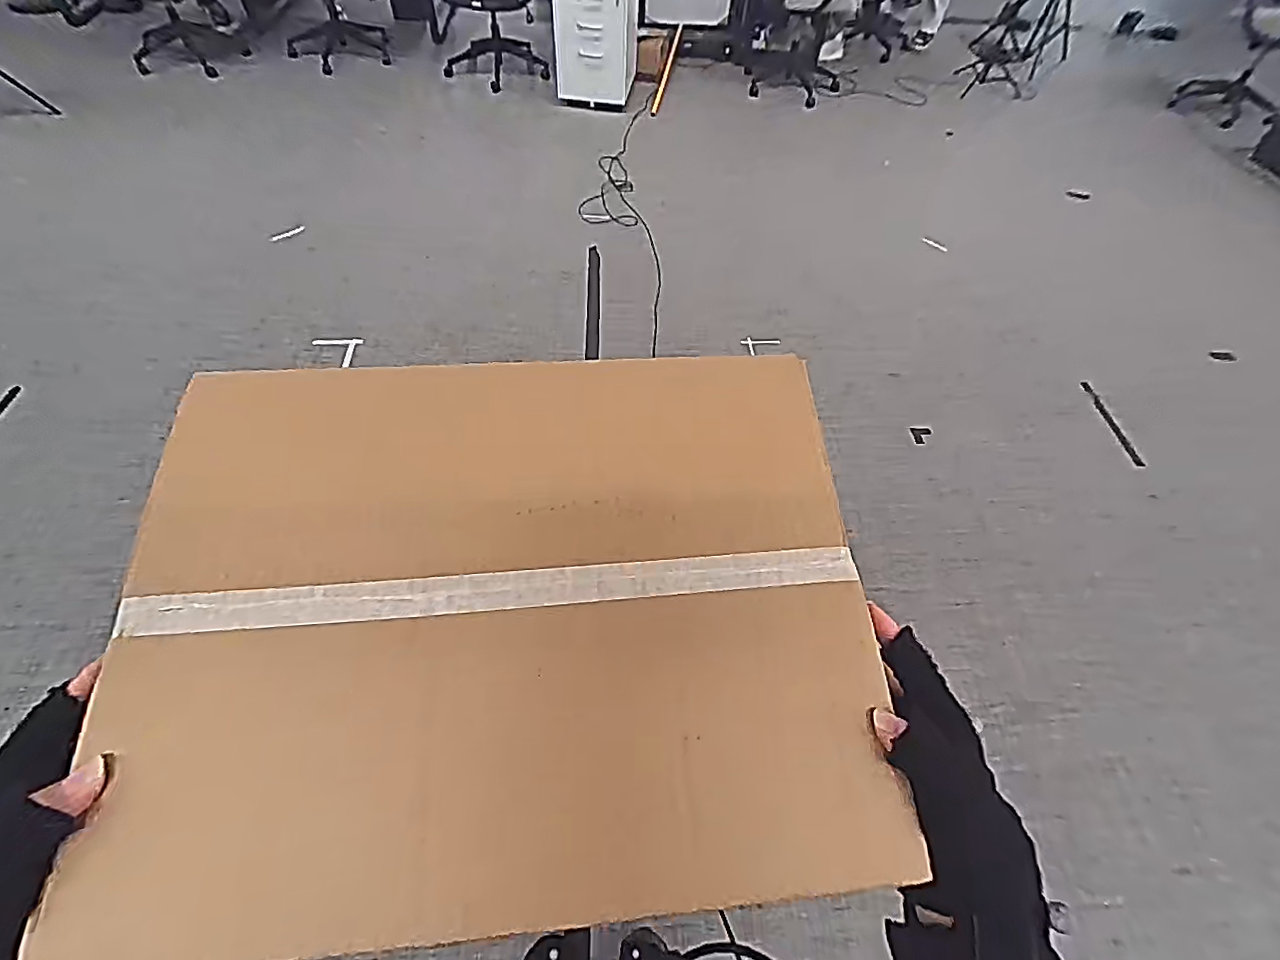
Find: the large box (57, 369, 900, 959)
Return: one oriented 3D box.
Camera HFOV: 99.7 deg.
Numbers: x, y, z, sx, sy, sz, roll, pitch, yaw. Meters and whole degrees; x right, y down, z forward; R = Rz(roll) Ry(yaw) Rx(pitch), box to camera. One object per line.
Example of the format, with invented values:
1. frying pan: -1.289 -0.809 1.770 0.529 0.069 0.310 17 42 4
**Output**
1. large box: -0.084 0.133 0.450 0.408 0.320 0.320 -3 65 -5
